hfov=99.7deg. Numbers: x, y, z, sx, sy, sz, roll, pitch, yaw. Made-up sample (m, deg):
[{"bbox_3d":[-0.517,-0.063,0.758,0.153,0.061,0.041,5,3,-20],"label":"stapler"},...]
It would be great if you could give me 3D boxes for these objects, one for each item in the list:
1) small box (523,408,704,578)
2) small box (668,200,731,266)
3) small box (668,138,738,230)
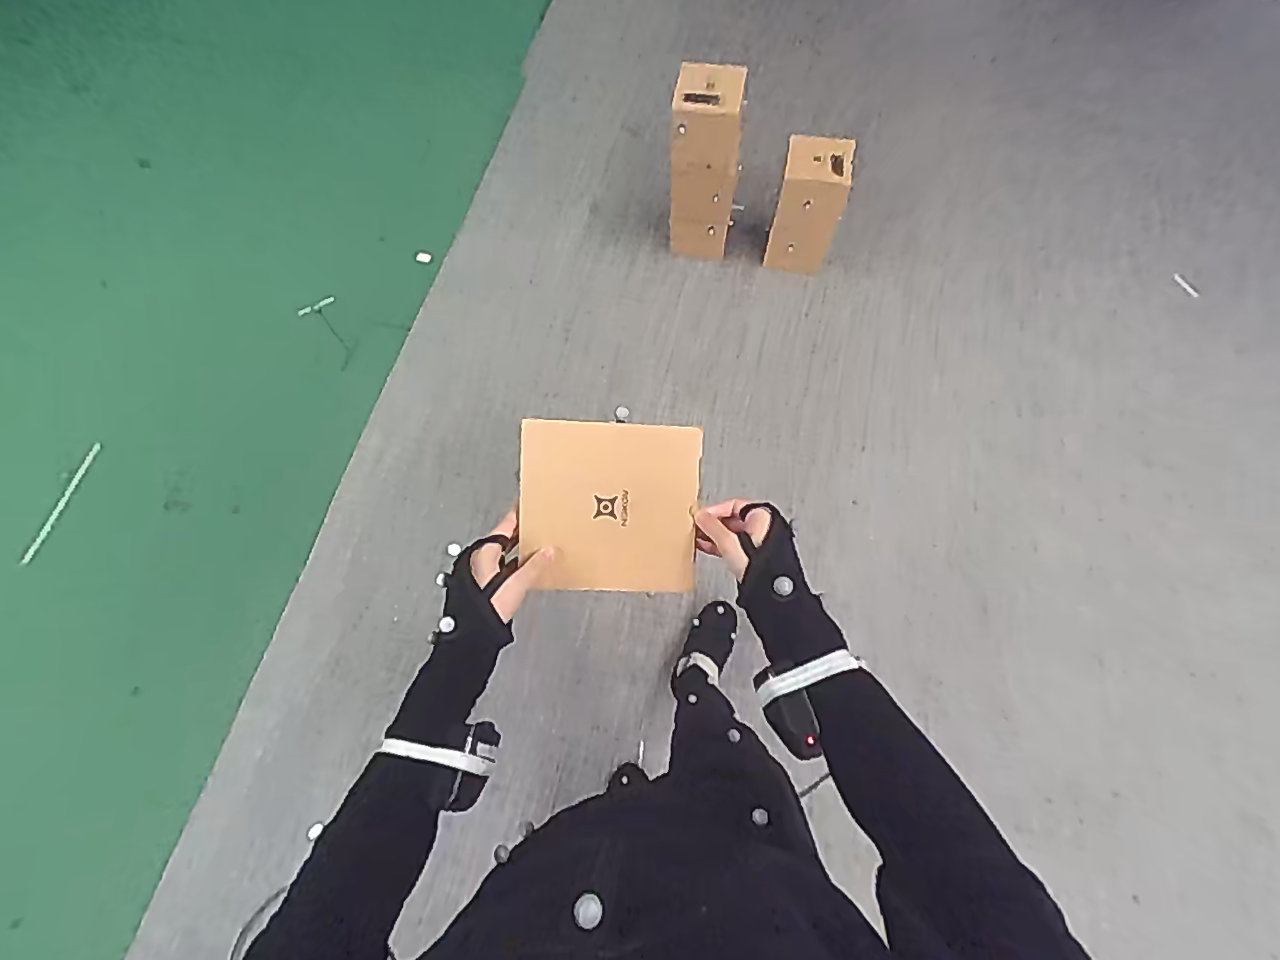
[{"bbox_3d":[-0.032,0.010,0.618,0.179,0.176,0.168,2,94,-5],"label":"small box"},{"bbox_3d":[0.190,-0.813,1.737,0.179,0.176,0.168,8,70,7],"label":"small box"},{"bbox_3d":[0.182,-0.860,1.580,0.179,0.176,0.168,8,70,7],"label":"small box"}]
